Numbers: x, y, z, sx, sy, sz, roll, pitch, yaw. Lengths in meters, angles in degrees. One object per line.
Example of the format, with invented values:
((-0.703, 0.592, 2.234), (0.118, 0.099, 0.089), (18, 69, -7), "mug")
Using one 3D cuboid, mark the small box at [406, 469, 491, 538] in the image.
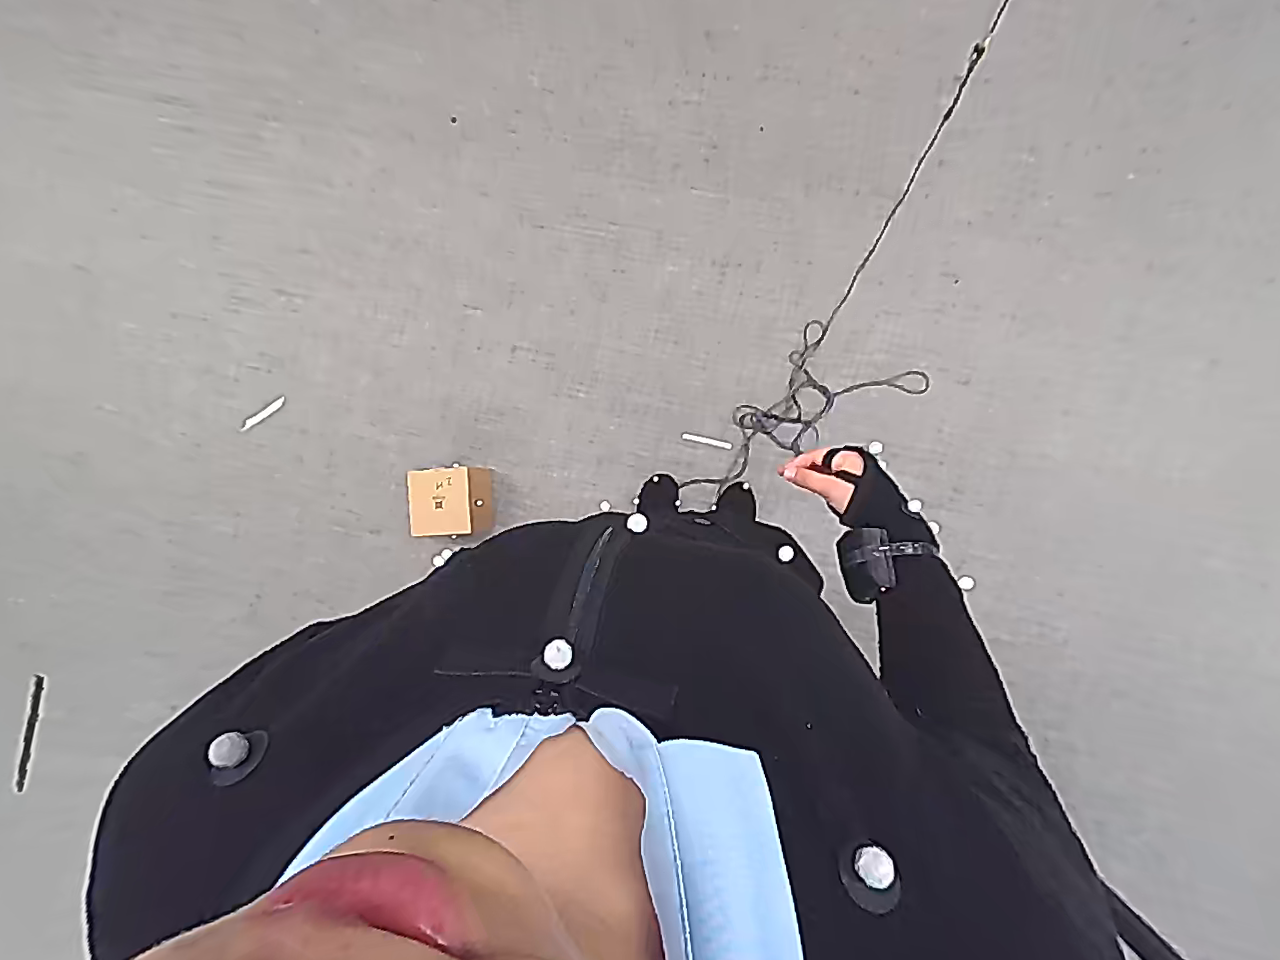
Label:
((-0.514, 0.061, 1.472), (0.168, 0.176, 0.179), (-3, 88, 5), "small box")
